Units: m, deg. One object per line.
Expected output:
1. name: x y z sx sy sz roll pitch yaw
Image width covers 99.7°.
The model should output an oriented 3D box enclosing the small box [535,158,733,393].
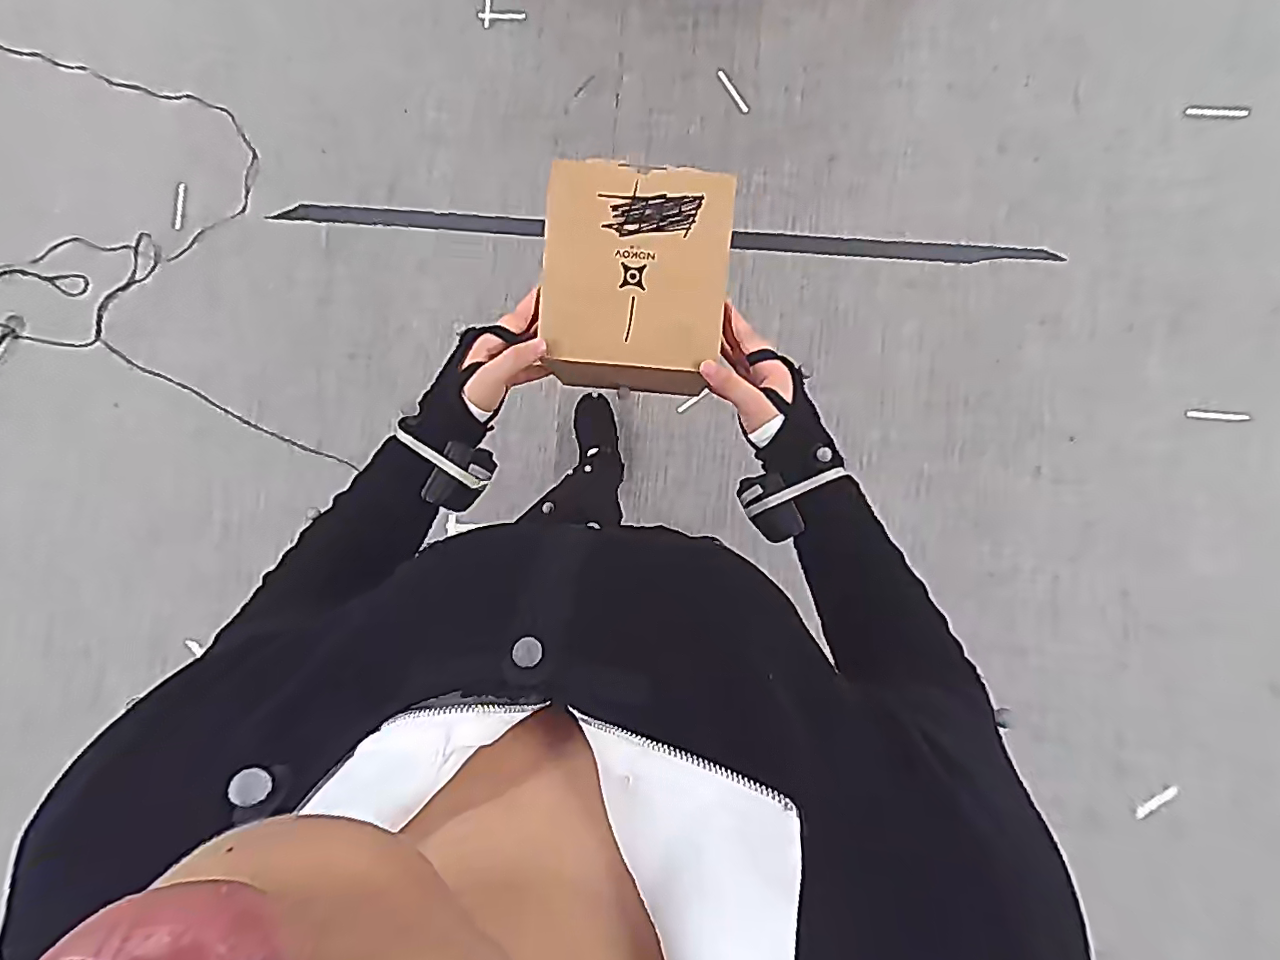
1. small box: -0.006 -0.195 0.561 0.168 0.176 0.179 5 92 0
